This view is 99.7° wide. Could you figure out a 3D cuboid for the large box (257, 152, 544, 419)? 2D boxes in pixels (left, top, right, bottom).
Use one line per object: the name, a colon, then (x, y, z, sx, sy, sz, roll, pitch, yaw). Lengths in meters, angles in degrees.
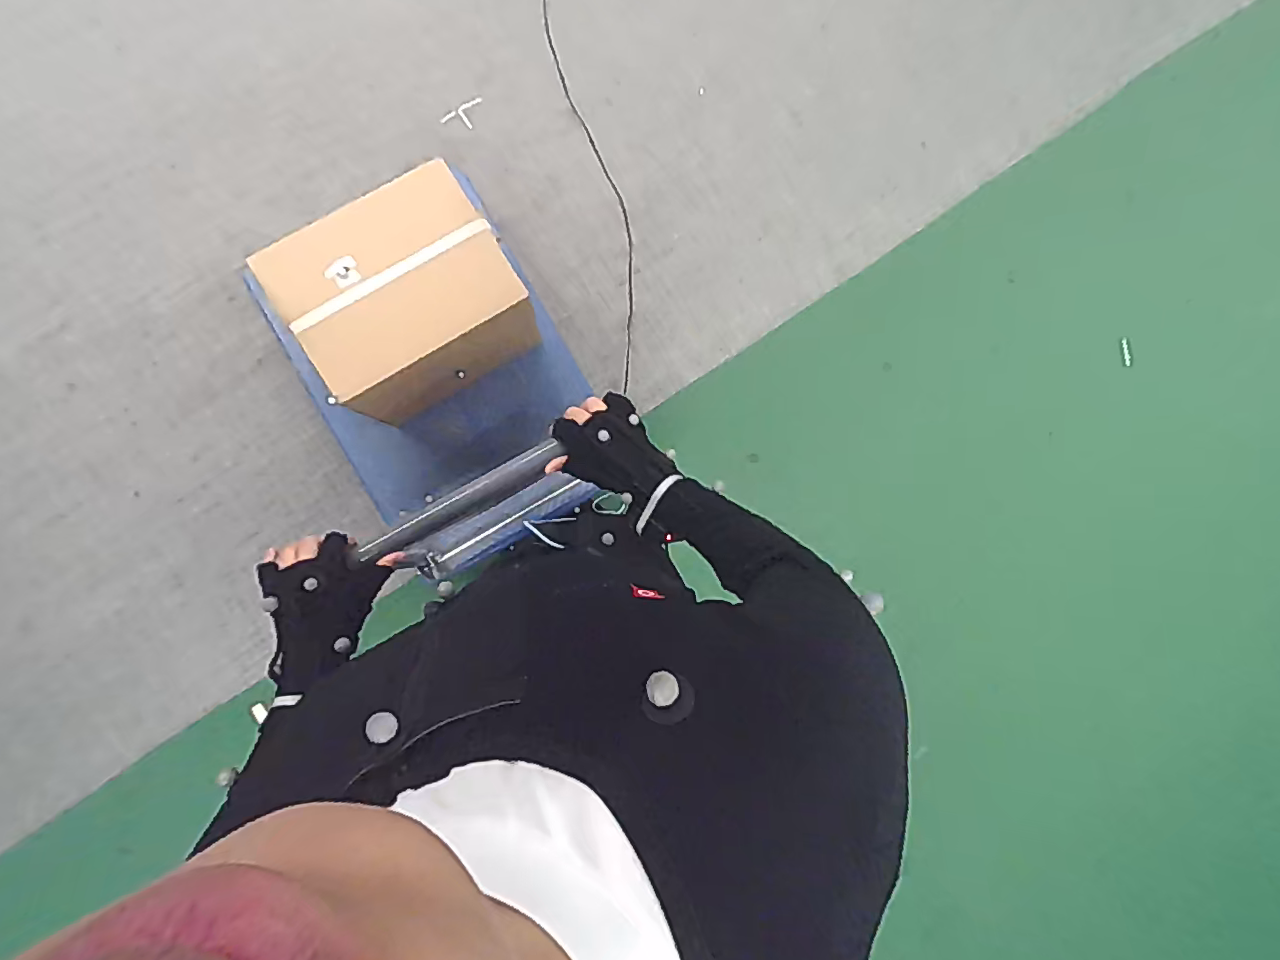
large box: (-0.460, -0.377, 1.142, 0.408, 0.320, 0.320, -33, 91, -6)
